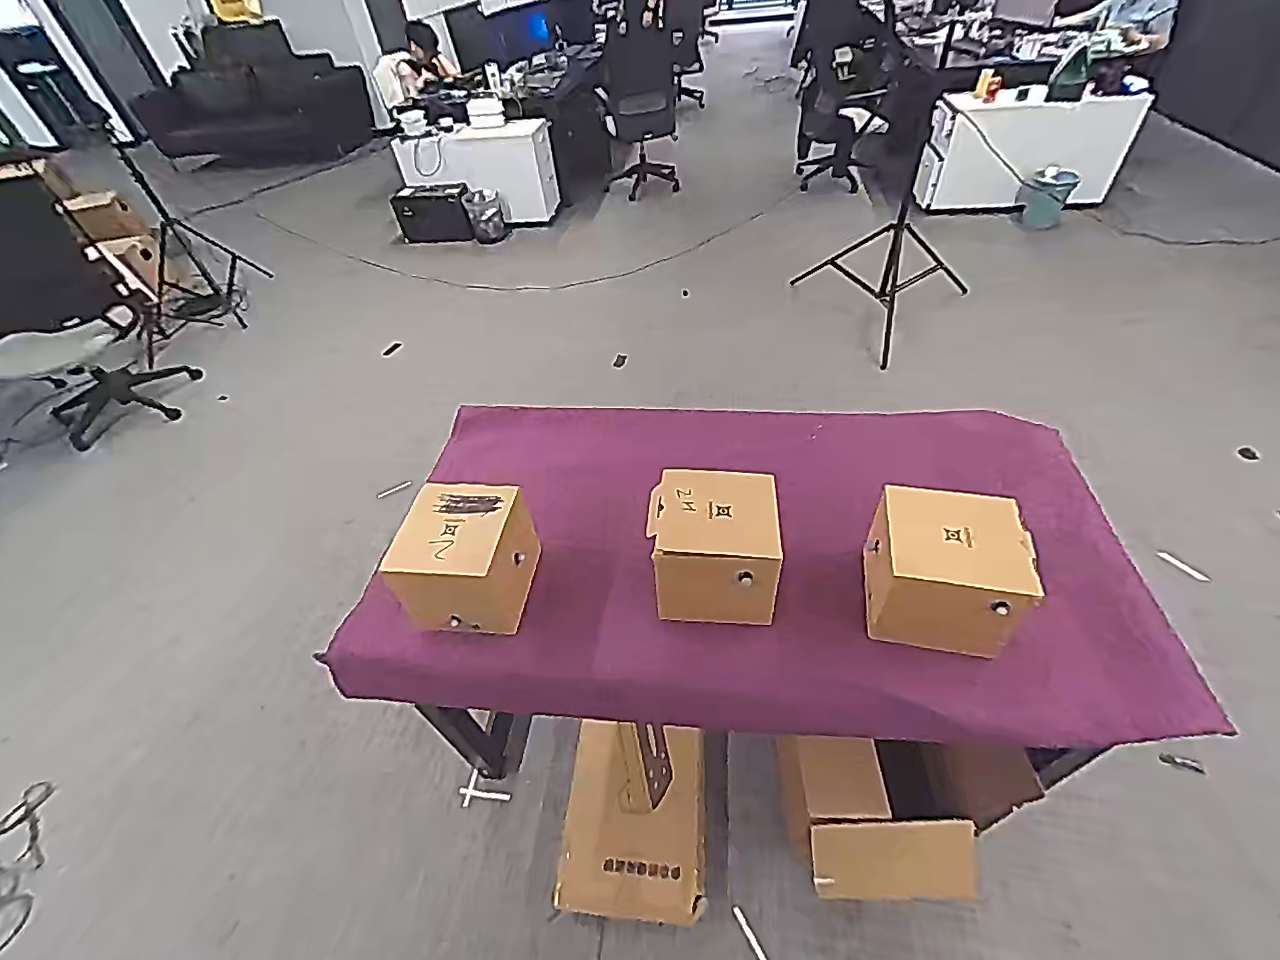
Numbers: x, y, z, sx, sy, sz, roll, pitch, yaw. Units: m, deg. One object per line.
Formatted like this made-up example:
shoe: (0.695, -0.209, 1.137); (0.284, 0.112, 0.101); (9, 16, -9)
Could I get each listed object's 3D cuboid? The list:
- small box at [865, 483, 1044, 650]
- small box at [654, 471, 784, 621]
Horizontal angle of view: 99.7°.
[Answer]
small box: (0.432, 0.126, 0.782); (0.179, 0.176, 0.168); (6, 47, 12)
small box: (0.120, 0.103, 0.840); (0.179, 0.176, 0.168); (1, 44, 8)
